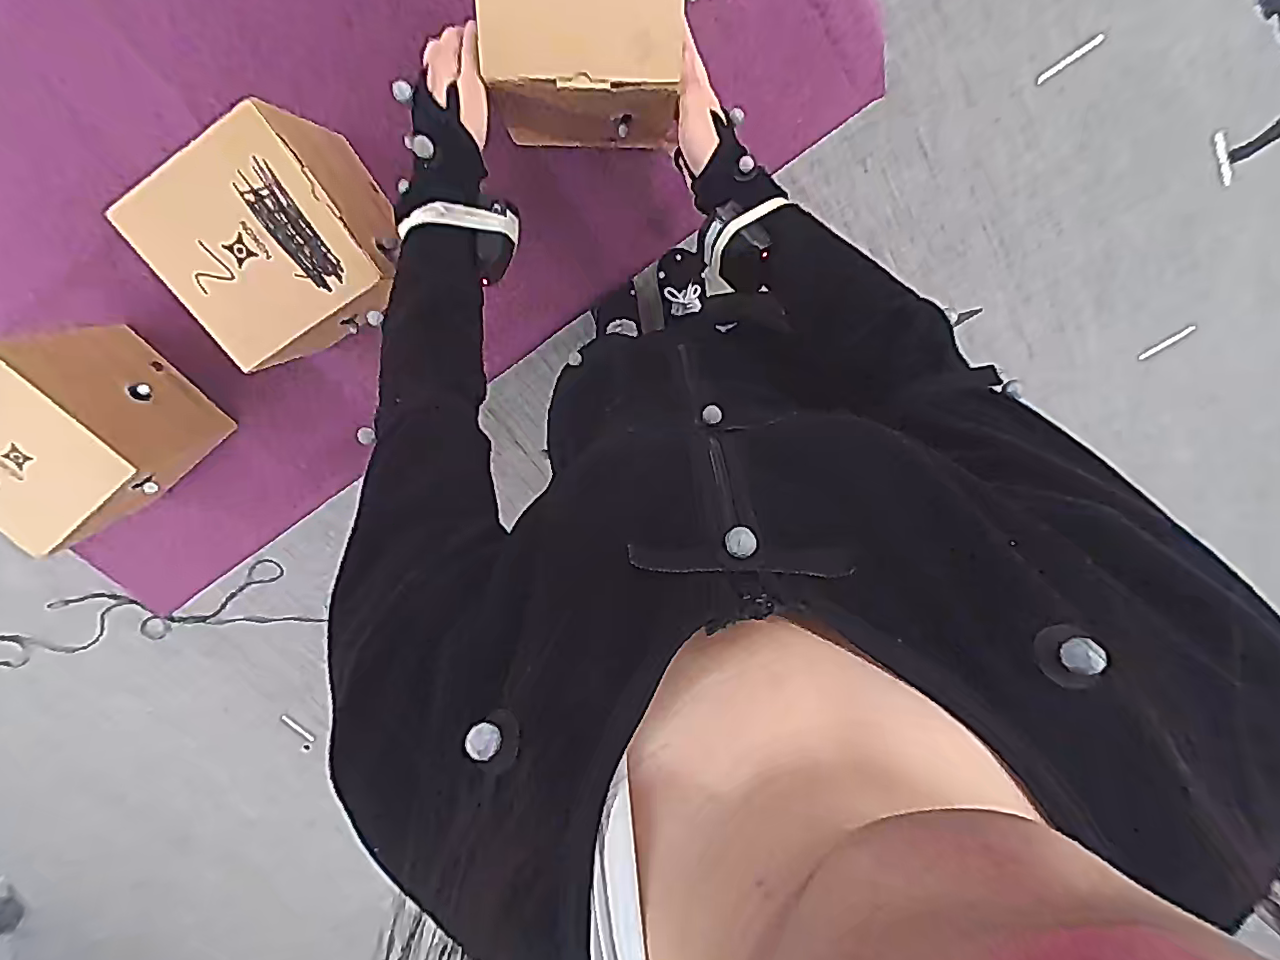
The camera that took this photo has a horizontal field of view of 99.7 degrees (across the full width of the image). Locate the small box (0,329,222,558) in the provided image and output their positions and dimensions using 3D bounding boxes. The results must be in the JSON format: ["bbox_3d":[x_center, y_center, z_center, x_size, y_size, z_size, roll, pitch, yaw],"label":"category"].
[{"bbox_3d":[-0.636,-0.052,0.618,0.179,0.176,0.168,-35,109,11],"label":"small box"}]
